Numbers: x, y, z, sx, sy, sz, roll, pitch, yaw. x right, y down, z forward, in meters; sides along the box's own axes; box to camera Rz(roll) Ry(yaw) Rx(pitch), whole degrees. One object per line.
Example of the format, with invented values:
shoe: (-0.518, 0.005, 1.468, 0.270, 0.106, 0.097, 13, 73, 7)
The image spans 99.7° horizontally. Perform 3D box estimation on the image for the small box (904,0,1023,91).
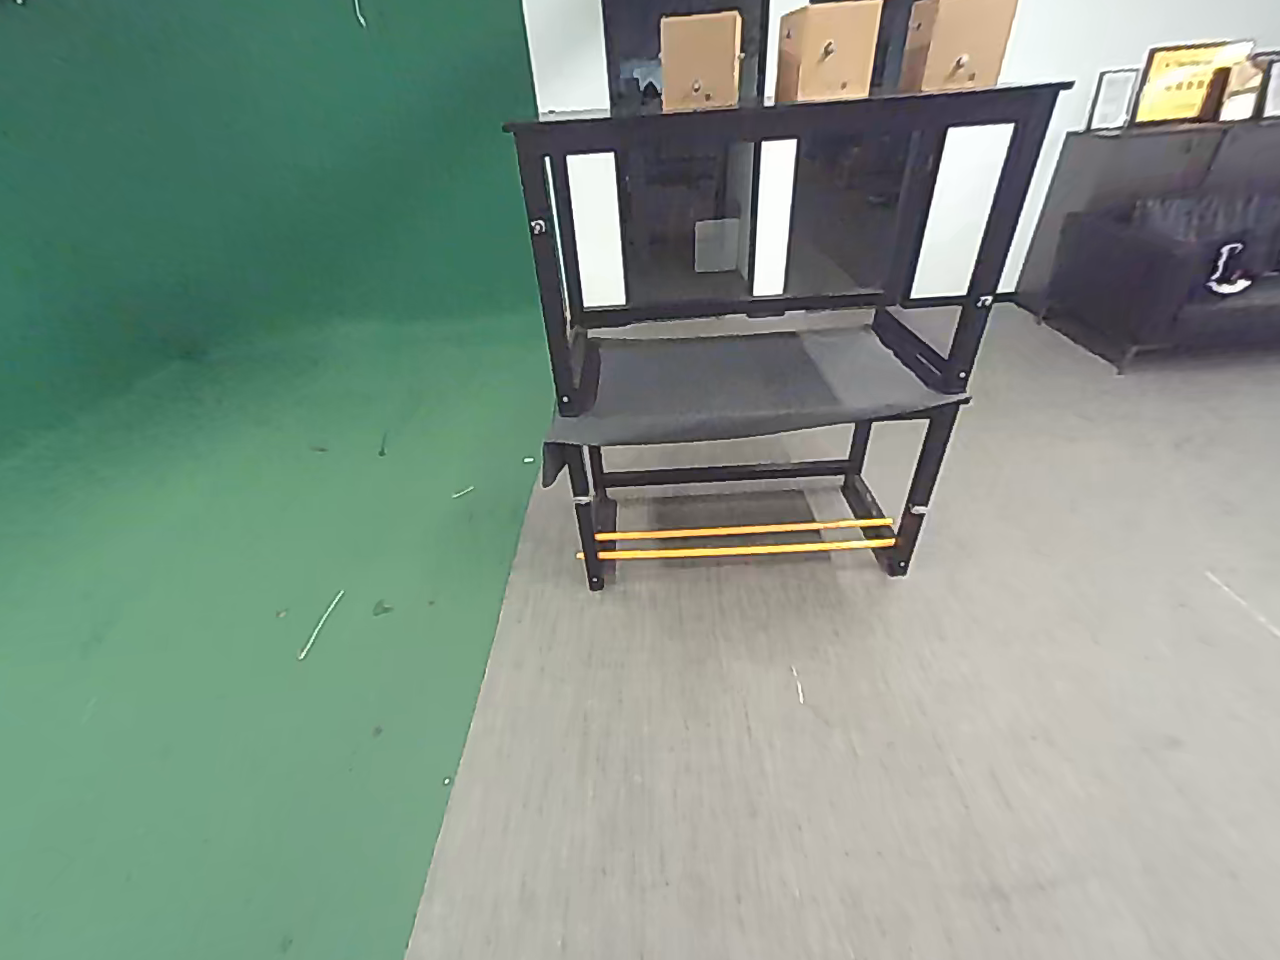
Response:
small box: (0.720, -0.989, 1.225, 0.168, 0.176, 0.179, 0, 37, 6)

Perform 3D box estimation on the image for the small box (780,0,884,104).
small box: (0.427, -0.967, 1.231, 0.168, 0.176, 0.179, -6, 35, -2)
